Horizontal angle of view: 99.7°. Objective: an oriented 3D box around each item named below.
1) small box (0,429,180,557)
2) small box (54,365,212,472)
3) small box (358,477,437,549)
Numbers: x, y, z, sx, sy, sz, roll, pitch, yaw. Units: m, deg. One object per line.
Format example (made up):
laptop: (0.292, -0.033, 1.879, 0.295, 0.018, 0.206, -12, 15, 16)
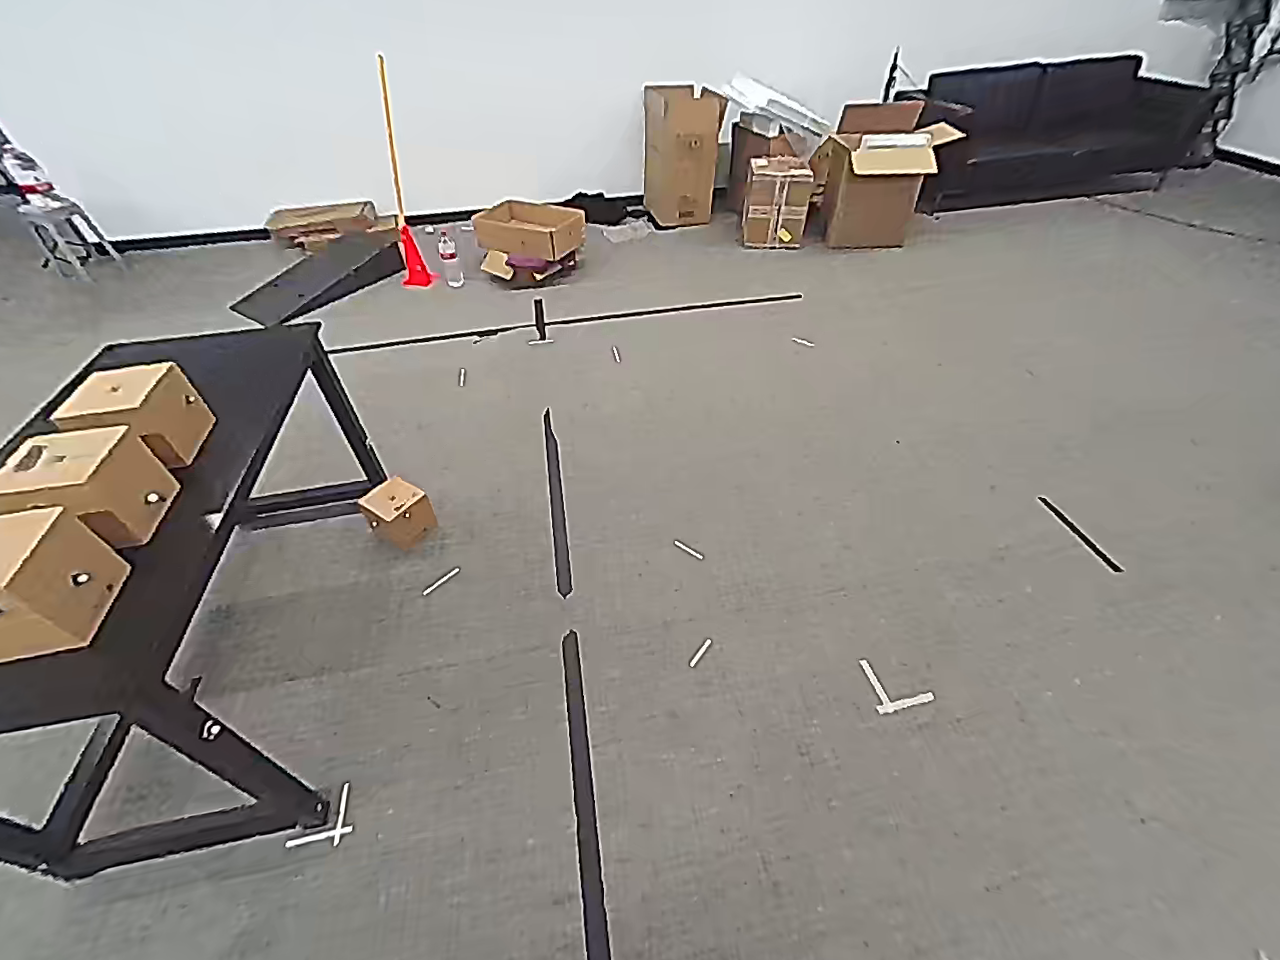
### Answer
small box: (-1.045, 0.028, 1.027, 0.179, 0.176, 0.168, -9, 45, -7)
small box: (-1.096, -0.127, 1.192, 0.168, 0.176, 0.179, -11, 46, -7)
small box: (-0.876, 0.123, 1.968, 0.179, 0.176, 0.168, 23, 50, 24)
